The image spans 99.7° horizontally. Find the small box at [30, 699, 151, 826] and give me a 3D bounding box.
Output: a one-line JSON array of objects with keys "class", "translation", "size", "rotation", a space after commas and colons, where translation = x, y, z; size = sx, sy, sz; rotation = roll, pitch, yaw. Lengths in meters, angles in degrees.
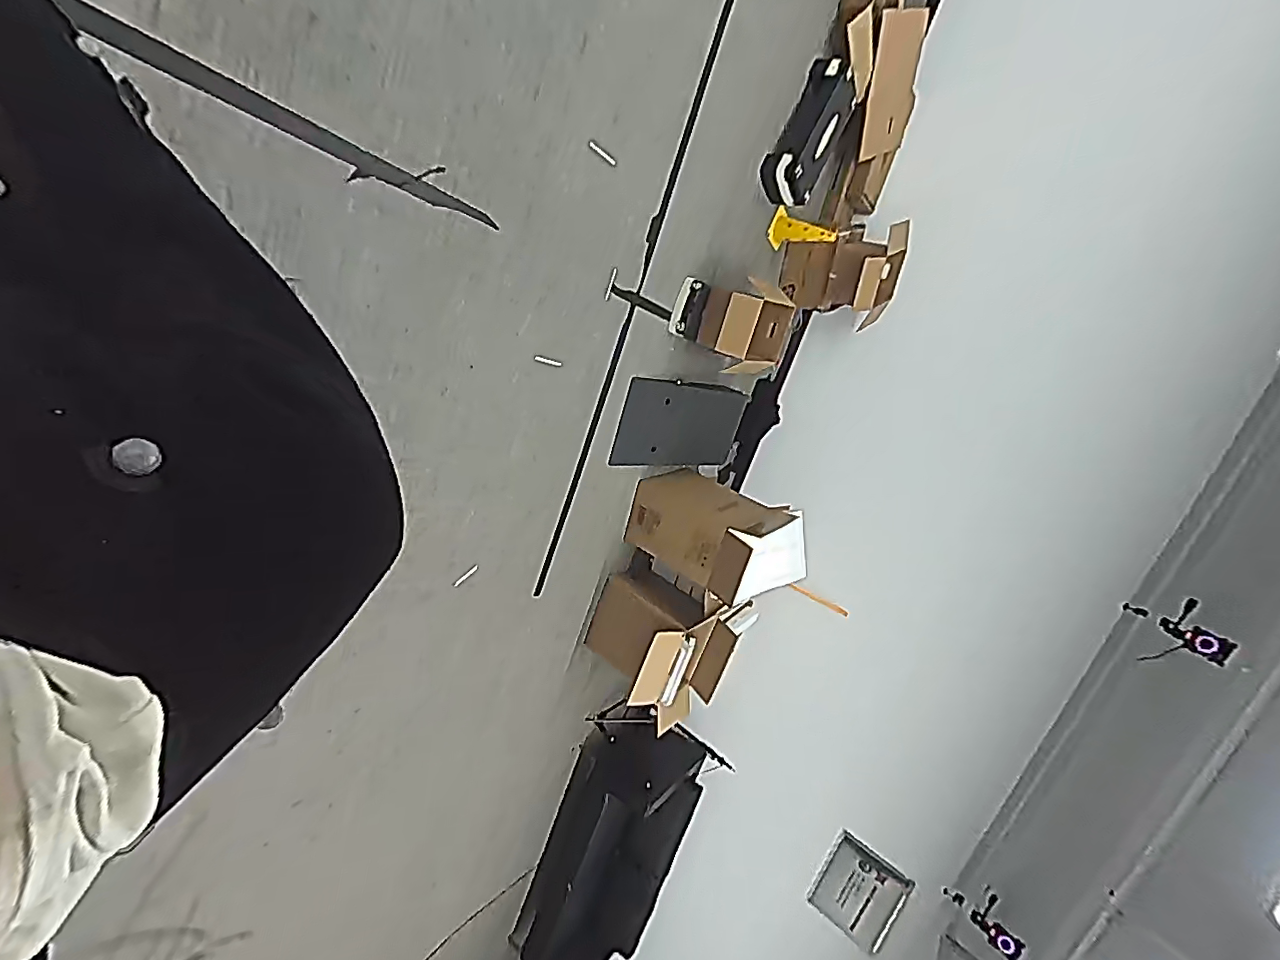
[{"class": "small box", "translation": [-1.315, 0.665, 1.297], "size": [0.179, 0.176, 0.168], "rotation": [-9, 121, -54]}]

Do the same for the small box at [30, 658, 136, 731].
[{"class": "small box", "translation": [-1.432, 0.595, 1.390], "size": [0.168, 0.176, 0.179], "rotation": [-7, 119, -55]}]
